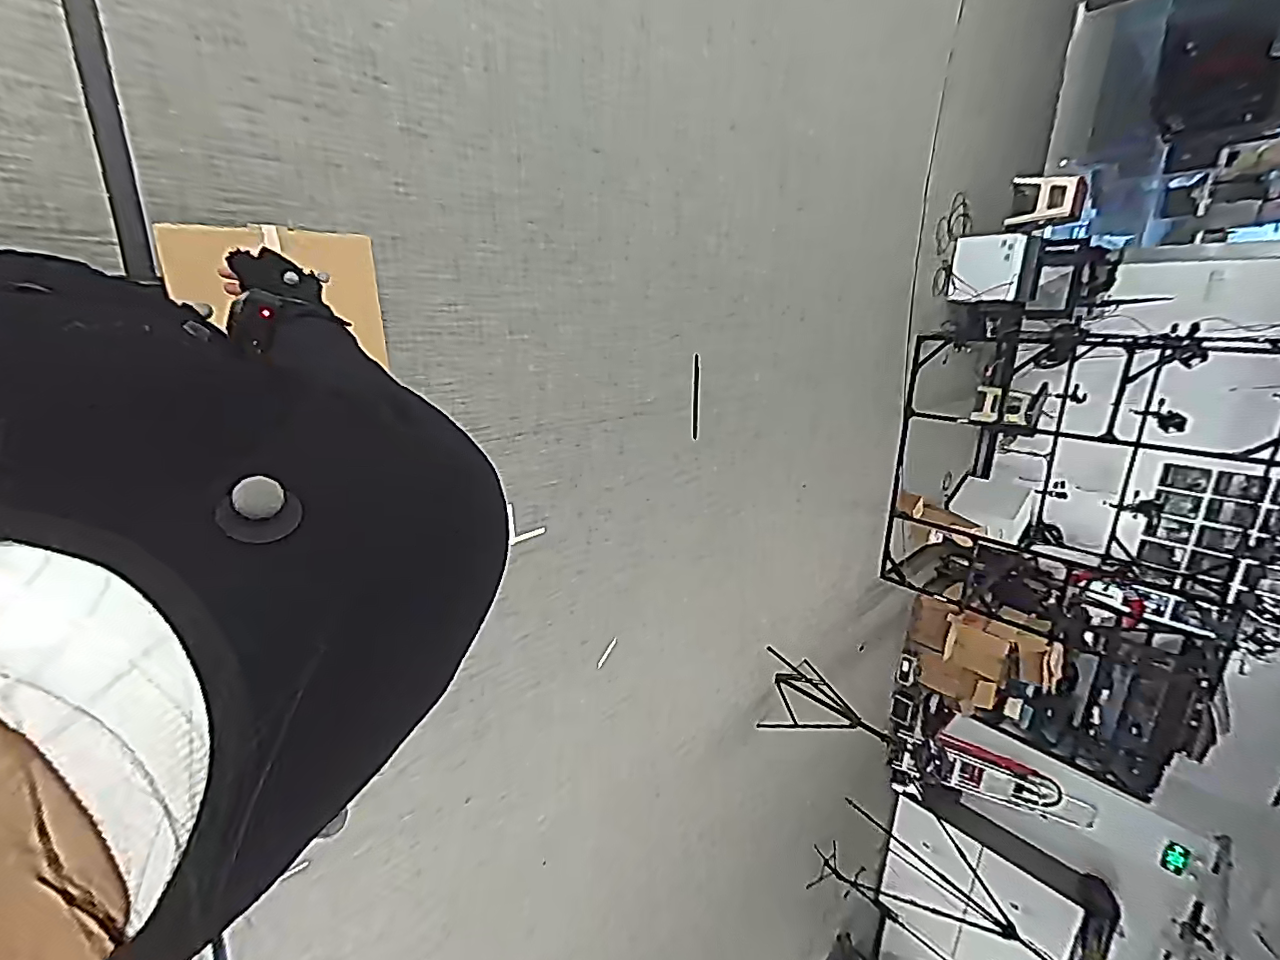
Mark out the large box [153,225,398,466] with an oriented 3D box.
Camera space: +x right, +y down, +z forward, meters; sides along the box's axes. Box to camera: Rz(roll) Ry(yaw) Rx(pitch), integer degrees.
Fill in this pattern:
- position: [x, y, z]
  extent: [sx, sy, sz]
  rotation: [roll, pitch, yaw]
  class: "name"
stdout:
- position: [-0.719, -0.281, 1.094]
  extent: [0.320, 0.320, 0.408]
  rotation: [-13, 114, -34]
  class: "large box"
